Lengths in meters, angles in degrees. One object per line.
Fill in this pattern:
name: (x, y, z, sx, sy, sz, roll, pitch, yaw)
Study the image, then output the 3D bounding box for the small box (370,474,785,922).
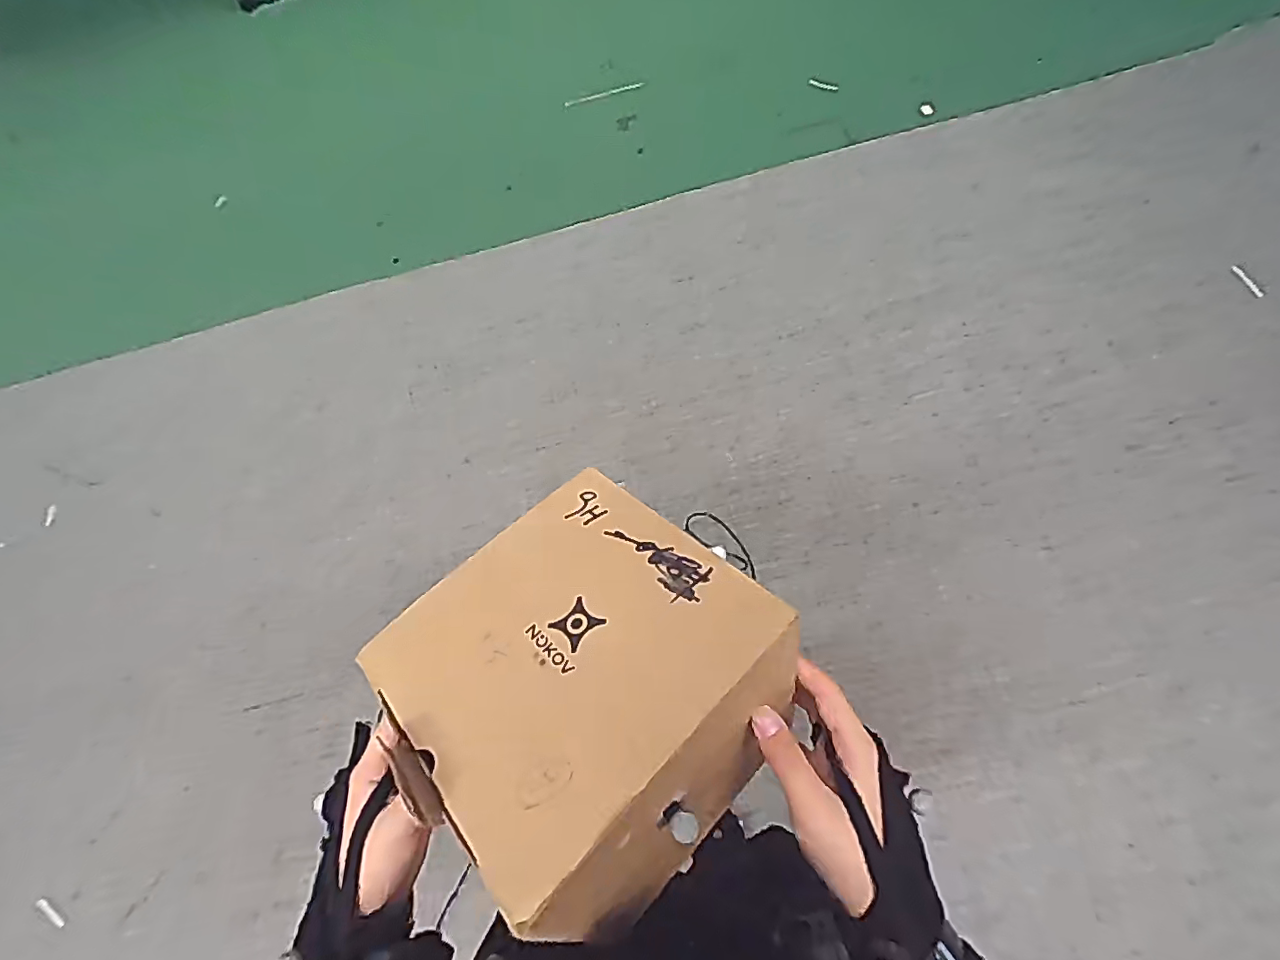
small box: (-0.022, 0.136, 0.345, 0.179, 0.176, 0.168, -41, 52, -20)
